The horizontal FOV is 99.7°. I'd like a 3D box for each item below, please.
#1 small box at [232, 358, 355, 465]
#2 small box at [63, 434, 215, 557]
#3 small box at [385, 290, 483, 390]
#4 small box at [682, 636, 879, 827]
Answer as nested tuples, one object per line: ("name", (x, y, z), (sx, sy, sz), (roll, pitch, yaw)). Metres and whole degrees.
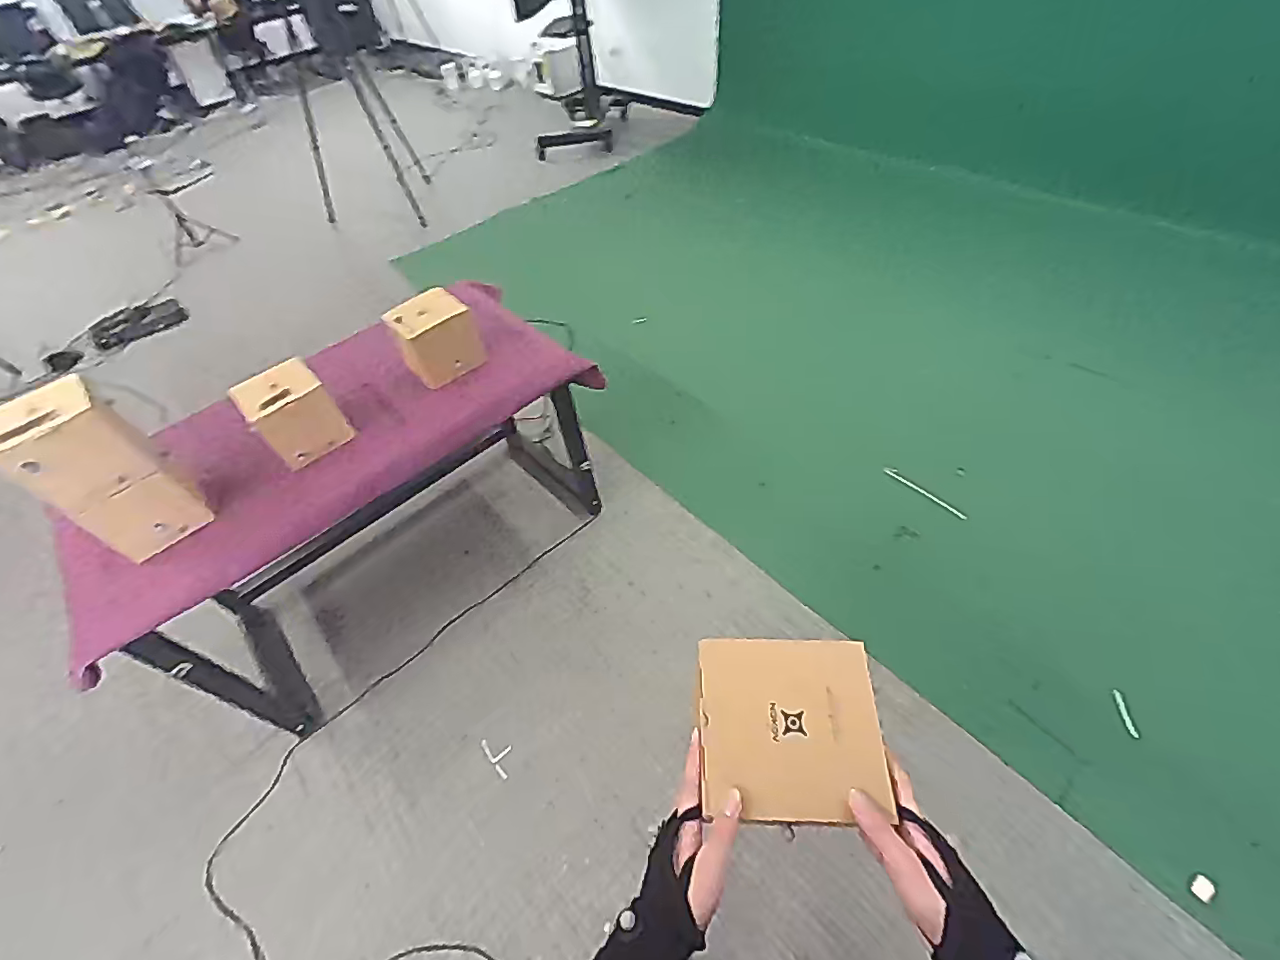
("small box", (-0.835, -0.160, 1.318), (0.168, 0.176, 0.179), (-38, 55, -23))
("small box", (-1.086, 0.036, 1.181), (0.168, 0.176, 0.179), (-39, 56, -23))
("small box", (-0.546, -0.378, 1.465), (0.179, 0.176, 0.168), (-36, 55, -22))
("small box", (0.134, 0.280, 0.596), (0.179, 0.176, 0.168), (0, 56, 3))
